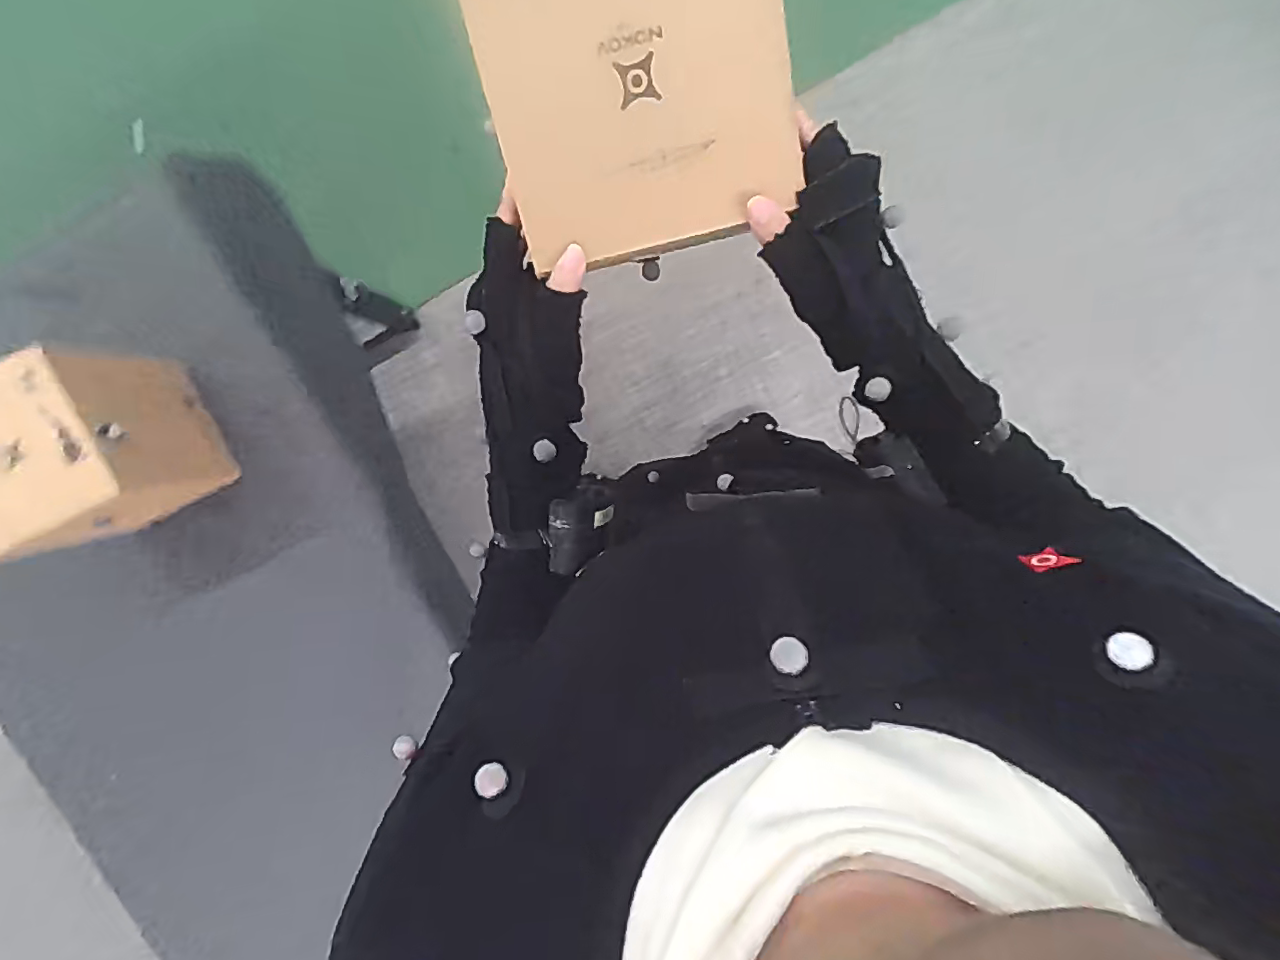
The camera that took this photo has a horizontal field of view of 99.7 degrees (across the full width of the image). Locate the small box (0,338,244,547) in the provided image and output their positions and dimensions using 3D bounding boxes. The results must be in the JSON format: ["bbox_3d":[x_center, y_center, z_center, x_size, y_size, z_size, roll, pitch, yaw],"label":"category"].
[{"bbox_3d":[-0.628,-0.045,0.633,0.179,0.176,0.168,-25,97,5],"label":"small box"}]
